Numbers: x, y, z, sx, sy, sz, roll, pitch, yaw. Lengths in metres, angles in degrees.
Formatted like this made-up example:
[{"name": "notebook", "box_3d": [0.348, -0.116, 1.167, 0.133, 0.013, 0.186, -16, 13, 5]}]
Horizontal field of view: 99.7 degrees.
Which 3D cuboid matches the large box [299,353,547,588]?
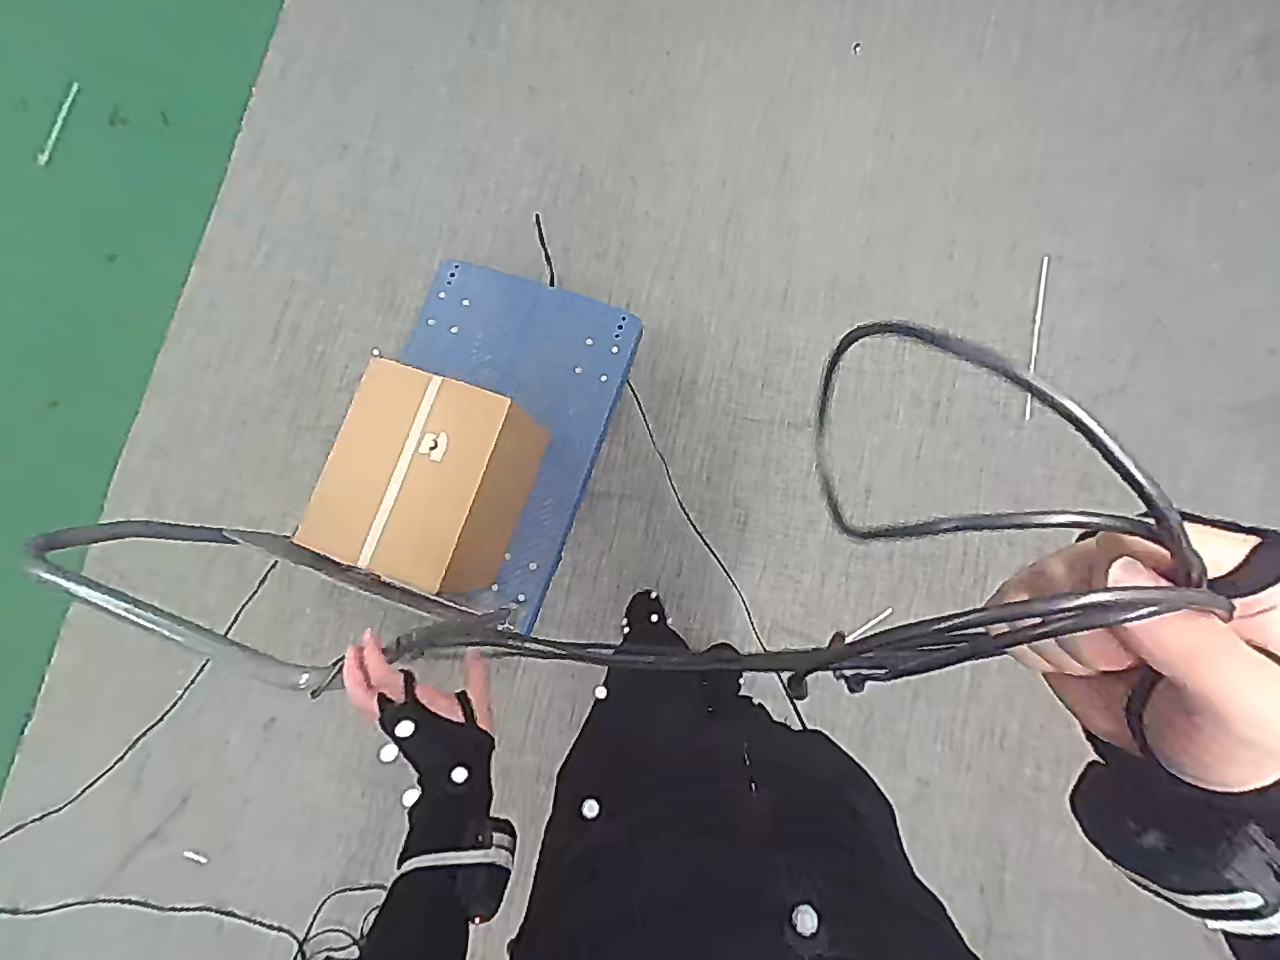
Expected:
[{"name": "large box", "box_3d": [-0.447, -0.002, 1.197, 0.320, 0.320, 0.408, 19, 83, 7]}]
